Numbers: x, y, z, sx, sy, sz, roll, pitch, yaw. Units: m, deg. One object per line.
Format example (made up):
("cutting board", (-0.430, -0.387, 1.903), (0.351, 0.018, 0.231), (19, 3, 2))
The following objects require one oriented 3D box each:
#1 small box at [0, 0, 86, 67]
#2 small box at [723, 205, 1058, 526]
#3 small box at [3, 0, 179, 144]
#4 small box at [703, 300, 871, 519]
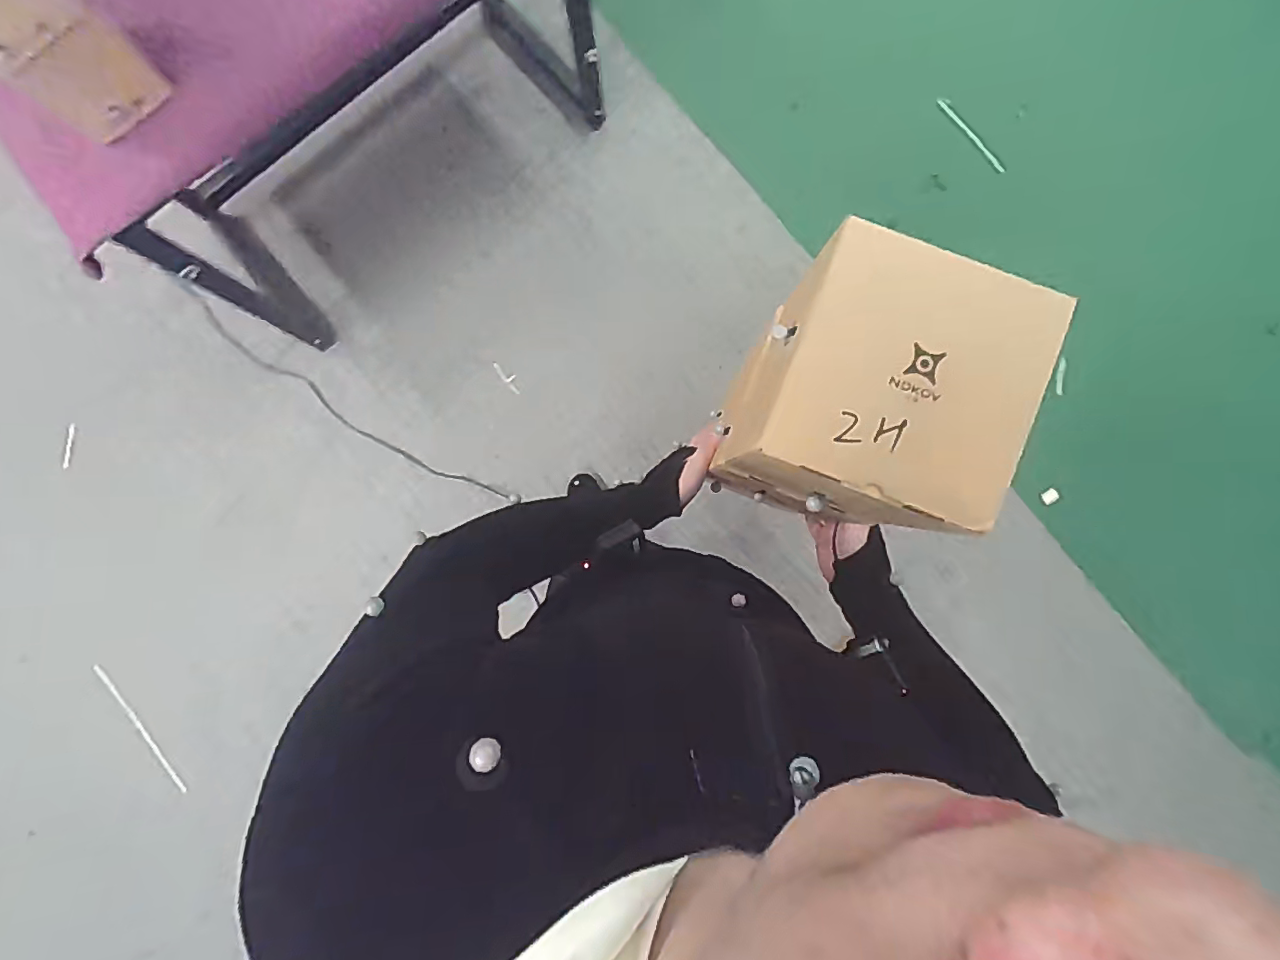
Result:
("small box", (-0.975, -0.747, 0.774), (0.168, 0.176, 0.179), (-41, 84, -1))
("small box", (0.177, -0.076, 0.441), (0.168, 0.176, 0.179), (20, 90, 2))
("small box", (-0.976, -0.739, 0.938), (0.168, 0.176, 0.179), (-41, 86, -2))
("small box", (0.176, -0.069, 0.606), (0.168, 0.176, 0.179), (20, 90, 2))
